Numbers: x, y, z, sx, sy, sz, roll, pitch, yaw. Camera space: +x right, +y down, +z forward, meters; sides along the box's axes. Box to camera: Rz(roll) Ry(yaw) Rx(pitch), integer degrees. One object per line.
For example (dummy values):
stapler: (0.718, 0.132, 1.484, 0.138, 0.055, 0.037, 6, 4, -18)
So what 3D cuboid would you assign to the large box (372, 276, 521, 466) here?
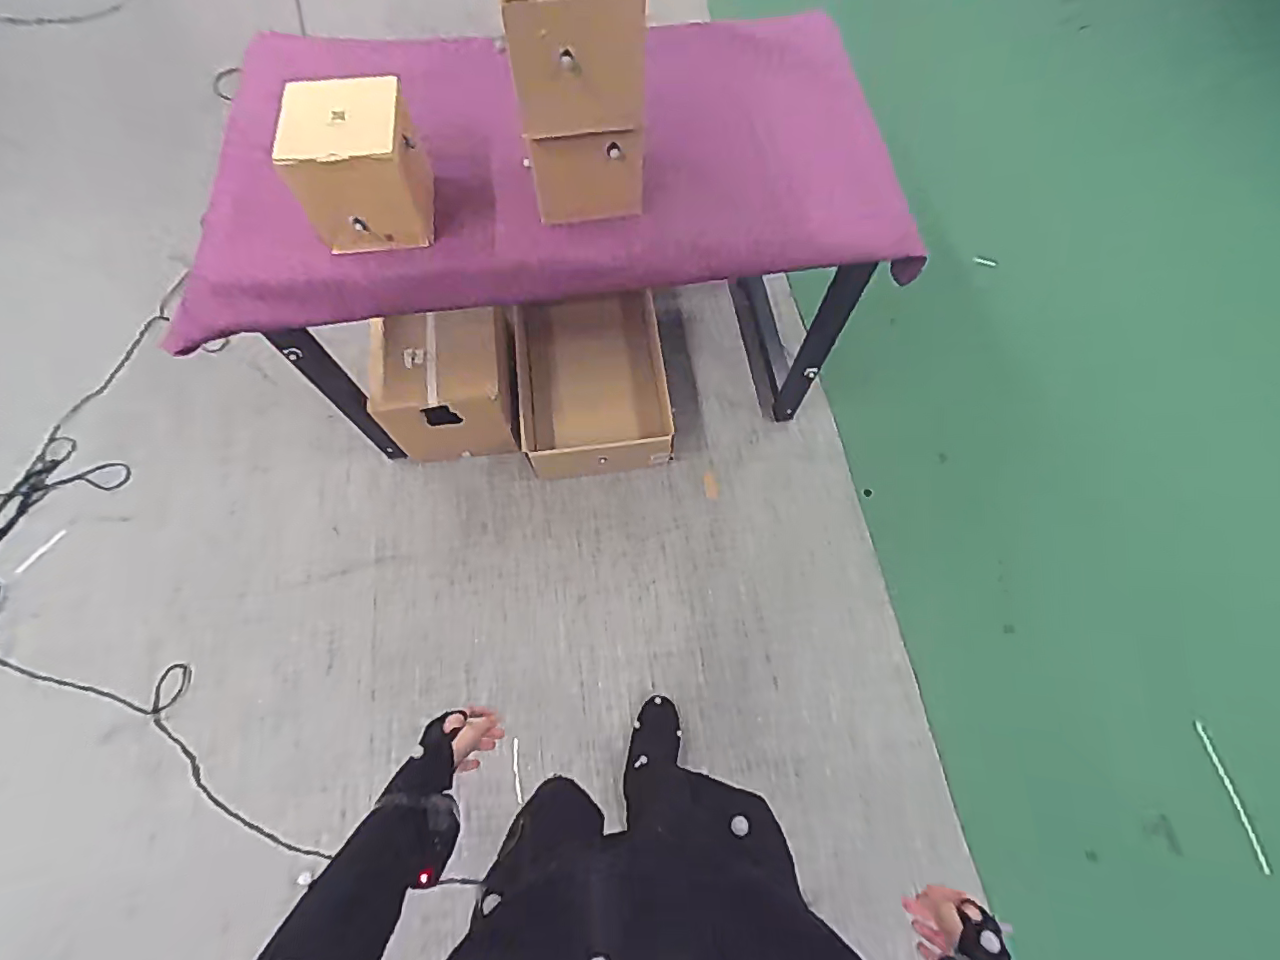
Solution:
large box: (-0.517, -0.292, 1.496, 0.320, 0.320, 0.408, -7, 69, -4)

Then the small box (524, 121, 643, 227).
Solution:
small box: (-0.093, -0.546, 0.888, 0.179, 0.176, 0.168, -8, 66, -3)

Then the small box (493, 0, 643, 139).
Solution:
small box: (-0.094, -0.593, 0.729, 0.179, 0.176, 0.168, -9, 67, -4)

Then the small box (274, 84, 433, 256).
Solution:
small box: (-0.440, -0.488, 0.862, 0.168, 0.176, 0.179, -7, 68, -4)
